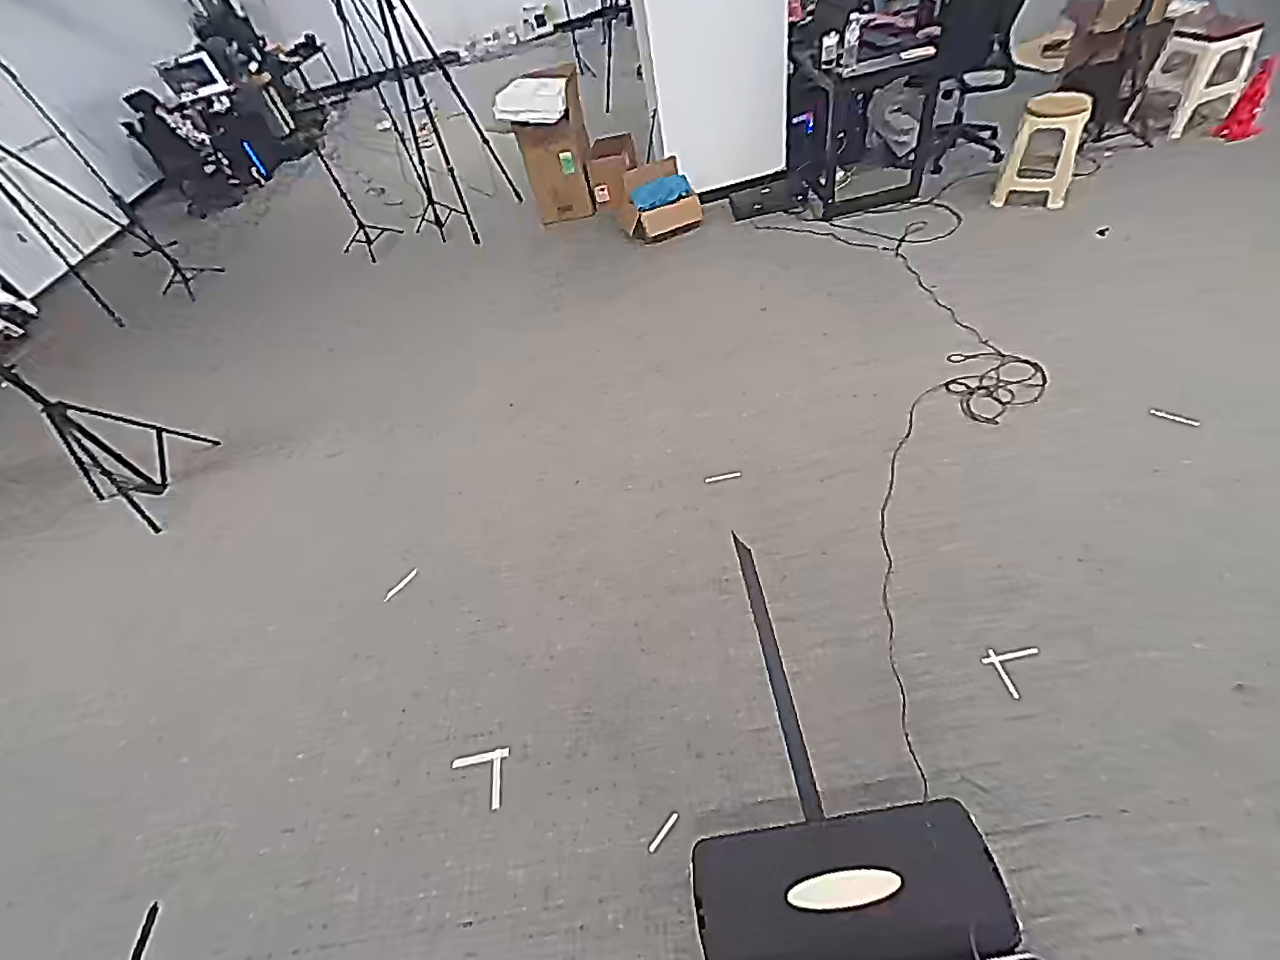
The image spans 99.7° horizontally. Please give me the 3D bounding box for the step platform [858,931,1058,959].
[{"bbox_3d":[0.492,1.085,1.017,0.684,0.204,0.286,-14,47,4],"label":"step platform"}]
